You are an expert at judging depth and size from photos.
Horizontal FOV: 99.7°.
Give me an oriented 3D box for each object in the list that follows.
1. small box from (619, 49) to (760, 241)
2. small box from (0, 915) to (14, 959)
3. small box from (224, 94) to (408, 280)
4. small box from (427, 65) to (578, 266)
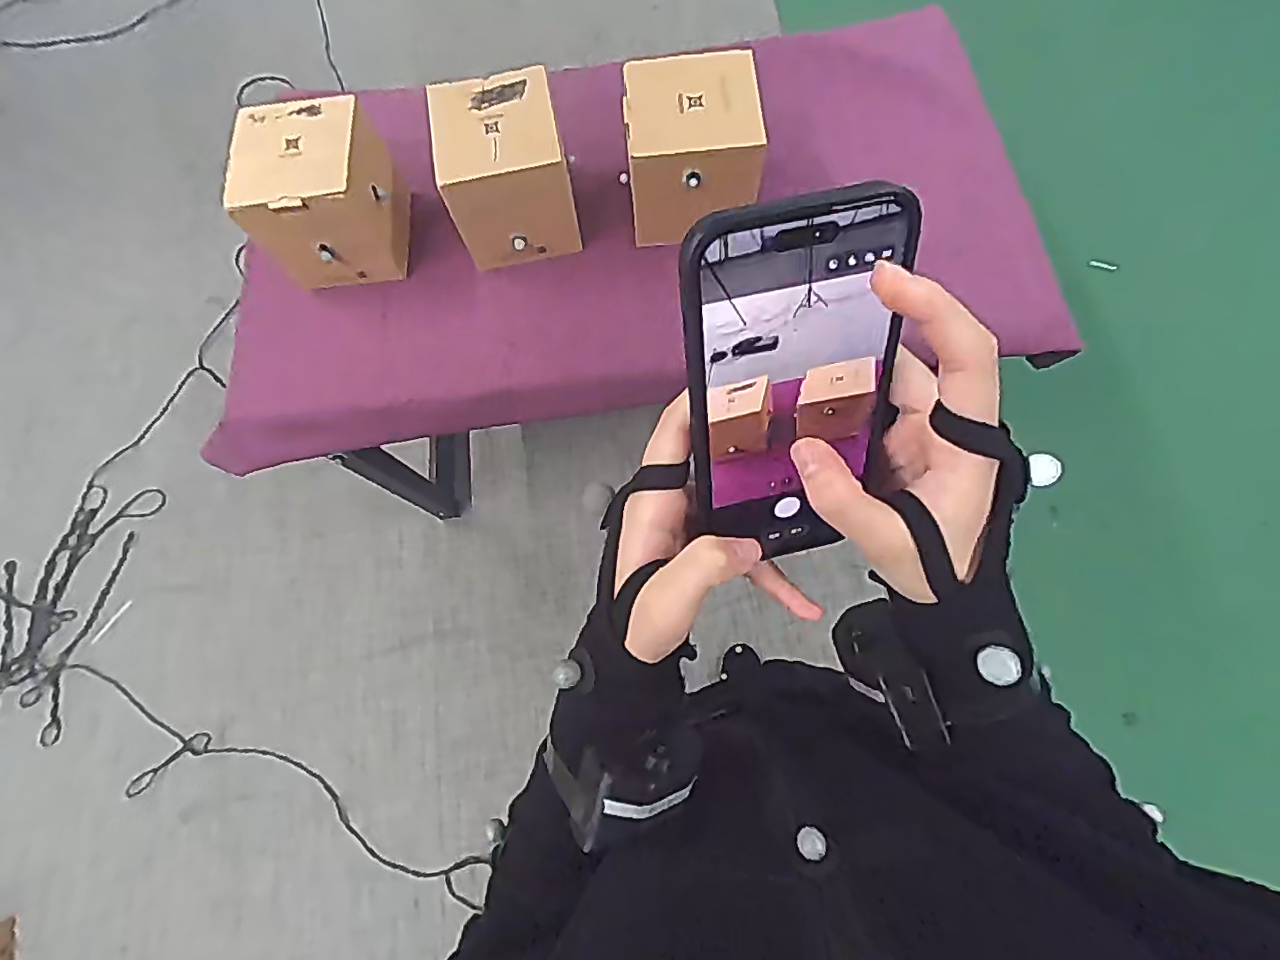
[{"bbox_3d":[0.067,-0.468,0.778,0.179,0.176,0.168,-4,73,3],"label":"small box"},{"bbox_3d":[-1.519,1.079,1.157,0.179,0.176,0.168,-15,73,-1],"label":"small box"},{"bbox_3d":[-0.458,-0.415,0.794,0.168,0.176,0.179,-6,73,2],"label":"small box"},{"bbox_3d":[-0.192,-0.447,0.787,0.168,0.176,0.179,-11,73,0],"label":"small box"}]
